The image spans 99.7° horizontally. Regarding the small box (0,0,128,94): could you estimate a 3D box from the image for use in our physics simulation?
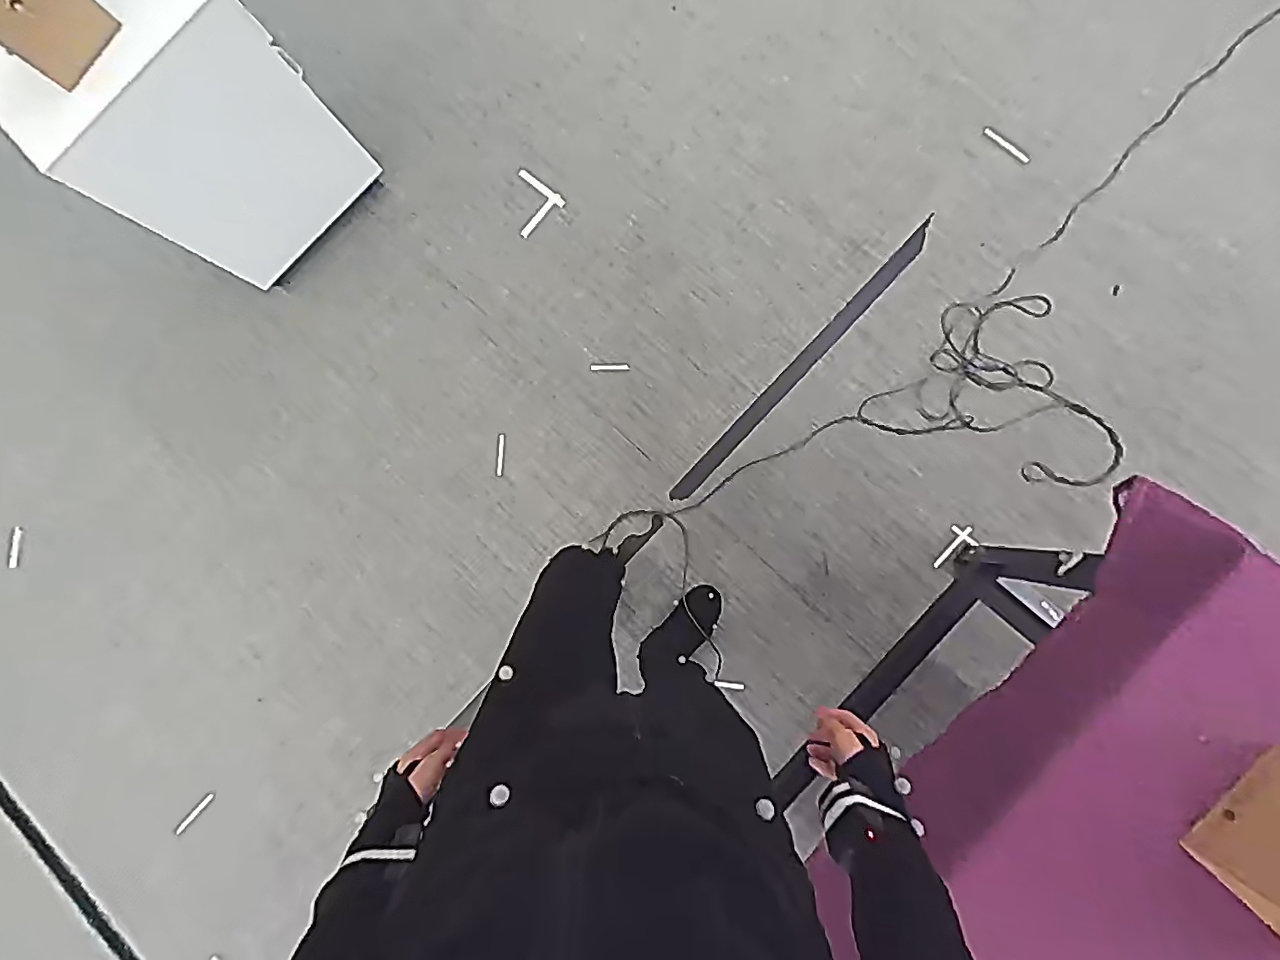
[{"bbox_3d":[-1.143,-0.888,1.020,0.168,0.176,0.179,38,89,8],"label":"small box"}]
